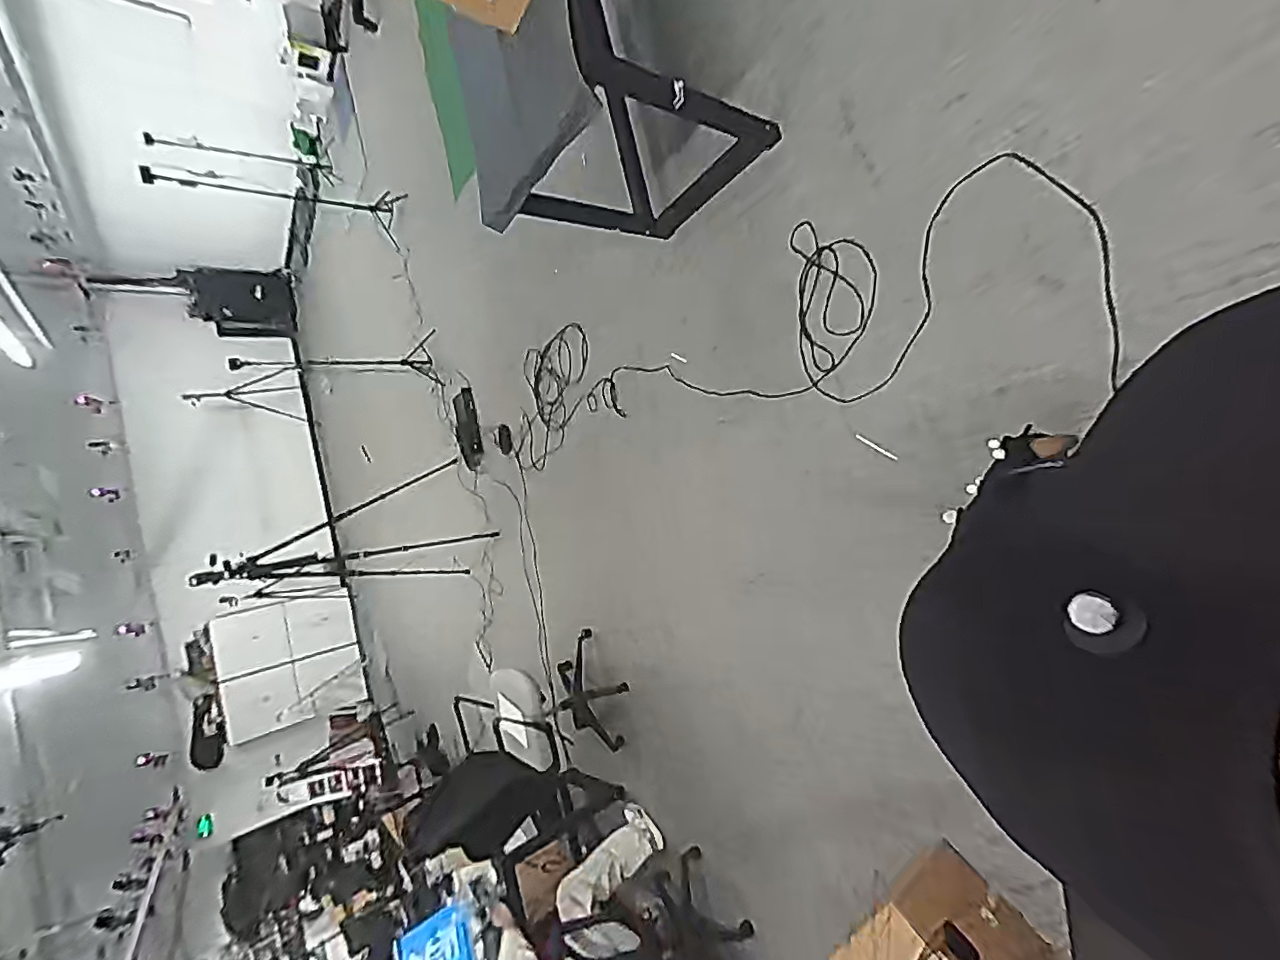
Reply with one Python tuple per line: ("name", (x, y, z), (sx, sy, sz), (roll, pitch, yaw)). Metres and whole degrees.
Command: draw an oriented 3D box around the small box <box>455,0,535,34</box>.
("small box", (-0.357, -1.259, 1.328), (0.179, 0.176, 0.168), (-19, 84, 53))
